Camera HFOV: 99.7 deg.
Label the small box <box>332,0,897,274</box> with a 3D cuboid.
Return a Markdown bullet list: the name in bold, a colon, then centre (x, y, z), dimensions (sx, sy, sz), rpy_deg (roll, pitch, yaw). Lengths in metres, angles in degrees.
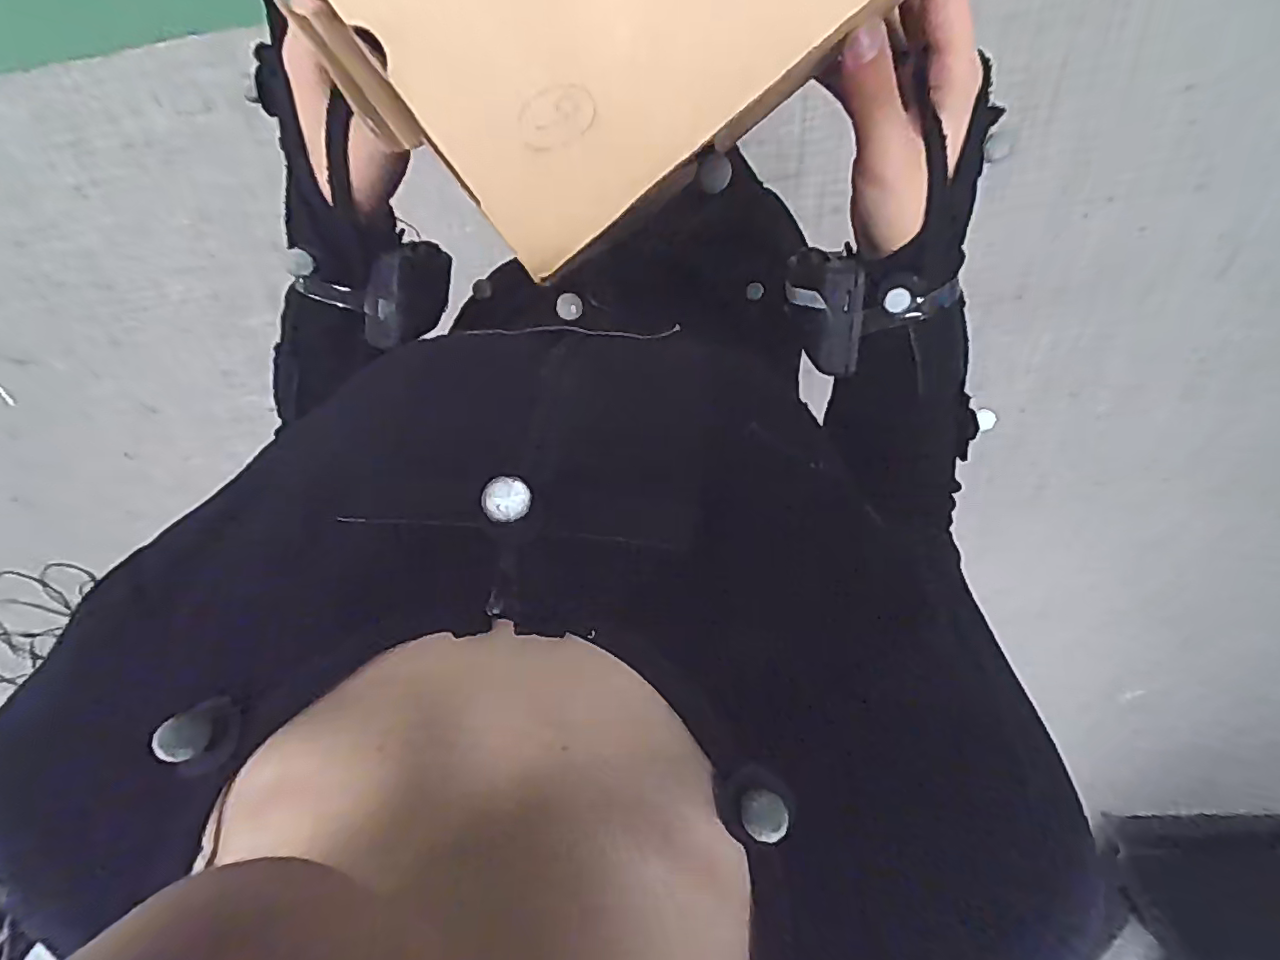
- **small box**: centre (-0.004, -0.215, 0.220), dimensions (0.179, 0.176, 0.168), rpy_deg (-32, 110, 22)
